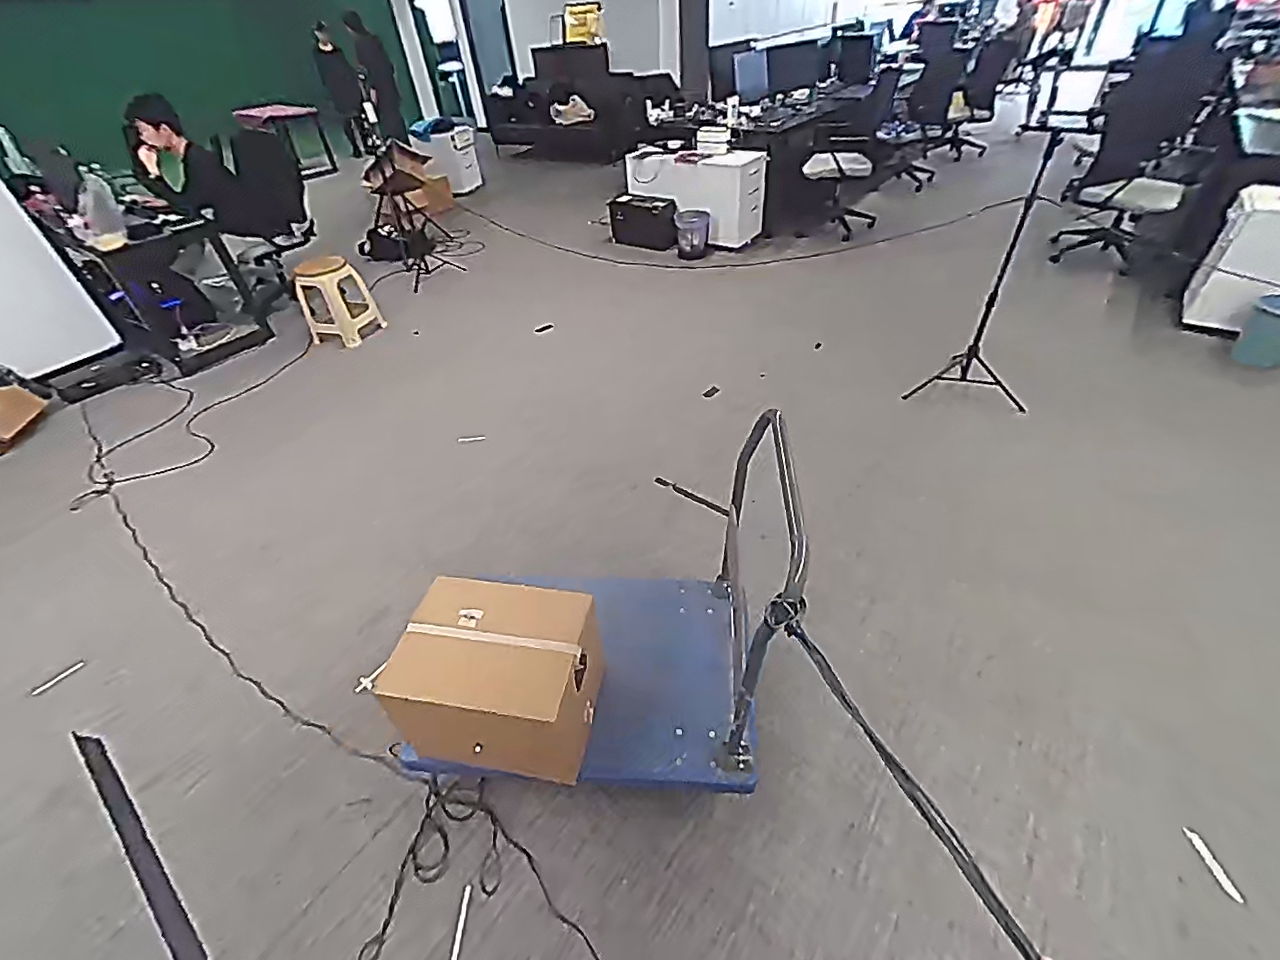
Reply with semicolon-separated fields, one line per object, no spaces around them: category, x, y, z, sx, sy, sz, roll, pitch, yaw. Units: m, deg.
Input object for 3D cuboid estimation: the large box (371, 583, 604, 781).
large box;-0.321;0.473;1.279;0.408;0.320;0.320;4;41;10
